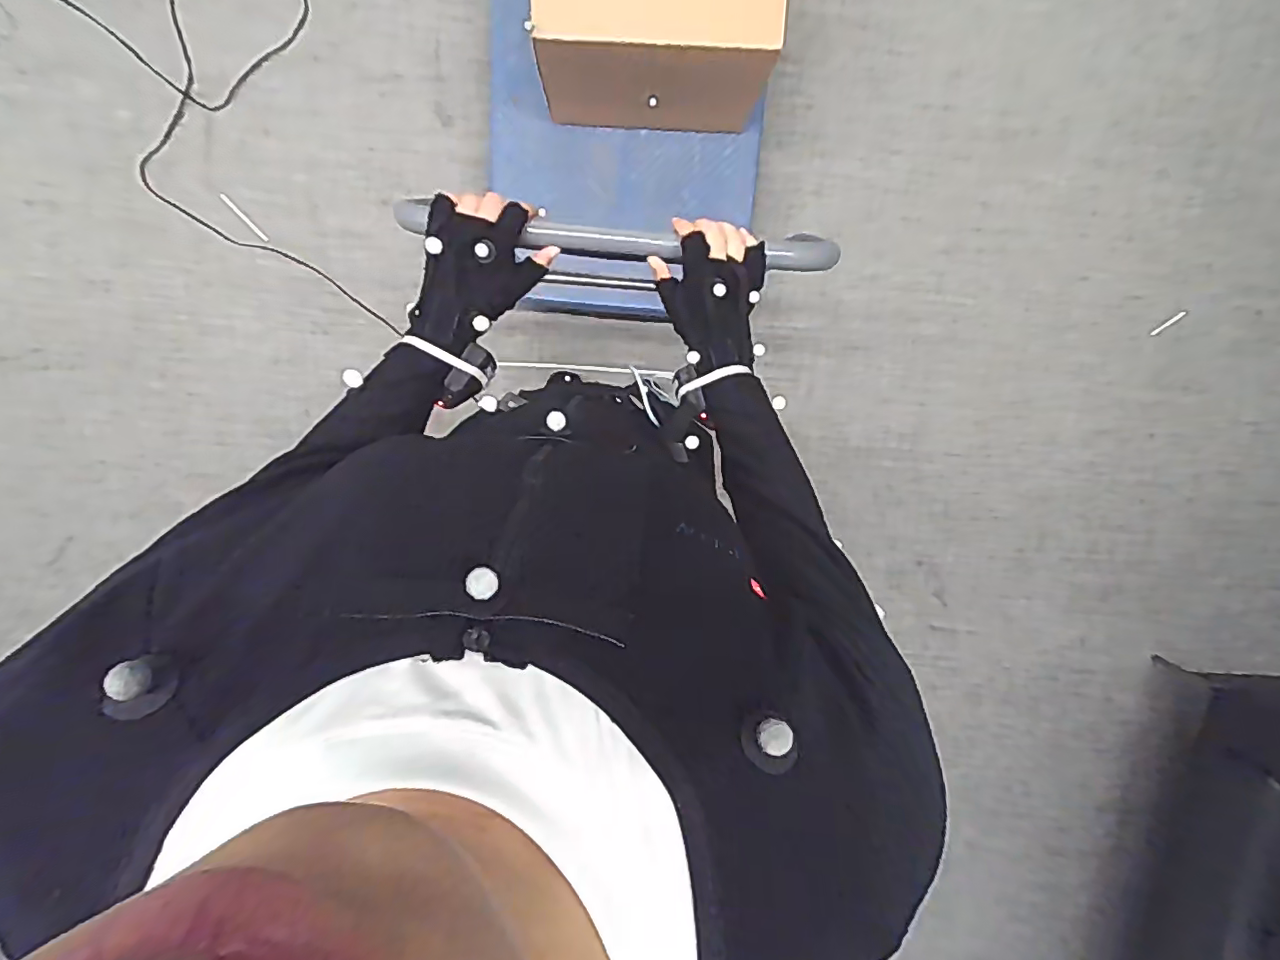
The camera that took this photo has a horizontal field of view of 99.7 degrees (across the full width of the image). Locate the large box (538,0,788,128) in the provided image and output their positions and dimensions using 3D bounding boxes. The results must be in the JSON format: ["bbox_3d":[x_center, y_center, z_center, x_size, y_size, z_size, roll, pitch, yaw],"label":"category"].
[{"bbox_3d":[0.036,-0.876,0.983,0.408,0.320,0.320,1,101,-2],"label":"large box"}]
